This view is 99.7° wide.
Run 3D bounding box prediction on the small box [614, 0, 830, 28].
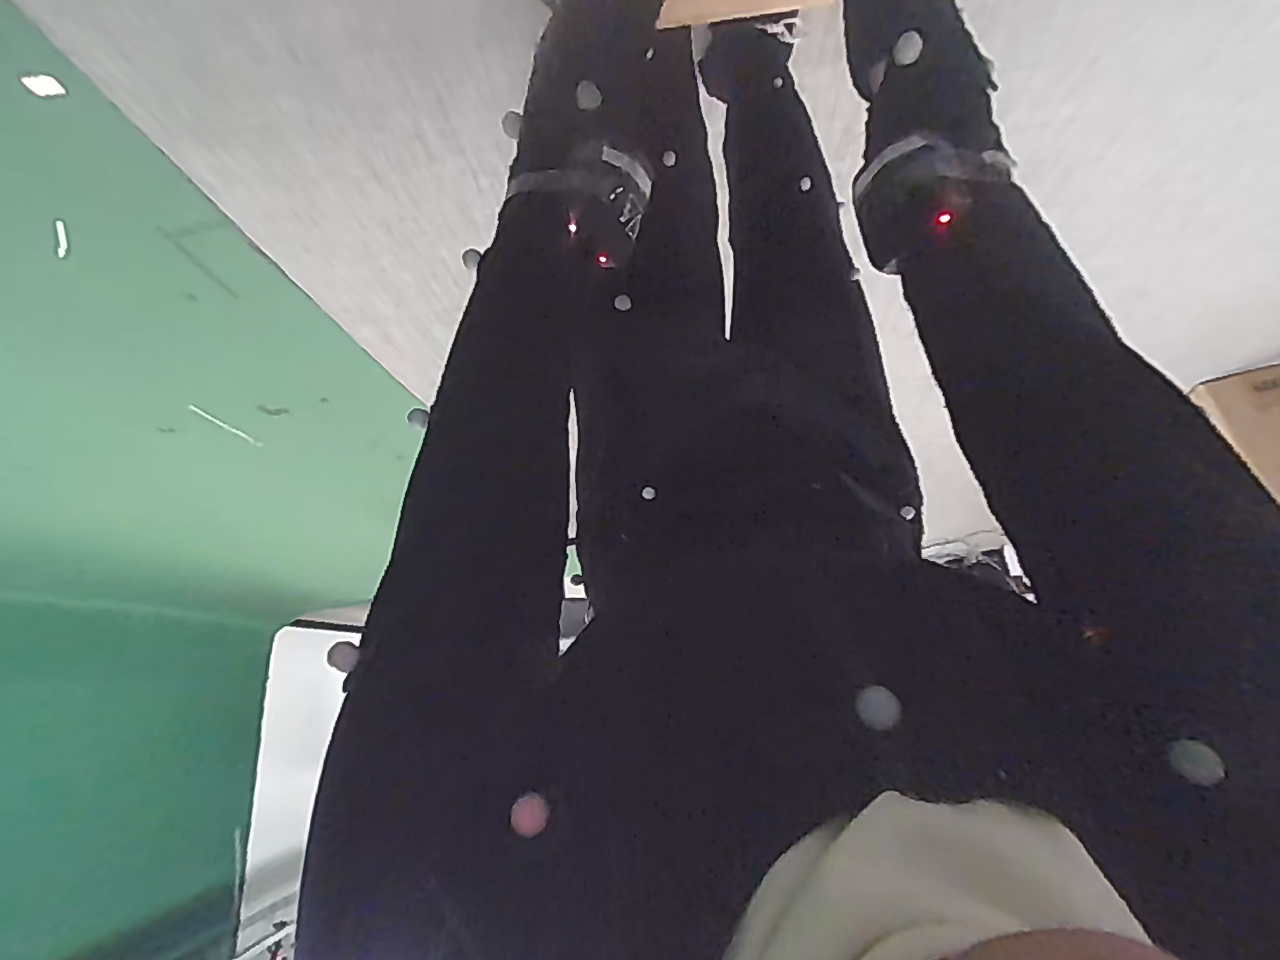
[{"bbox_3d":[0.057,-0.458,0.363,0.179,0.176,0.168,-6,159,2],"label":"small box"}]
